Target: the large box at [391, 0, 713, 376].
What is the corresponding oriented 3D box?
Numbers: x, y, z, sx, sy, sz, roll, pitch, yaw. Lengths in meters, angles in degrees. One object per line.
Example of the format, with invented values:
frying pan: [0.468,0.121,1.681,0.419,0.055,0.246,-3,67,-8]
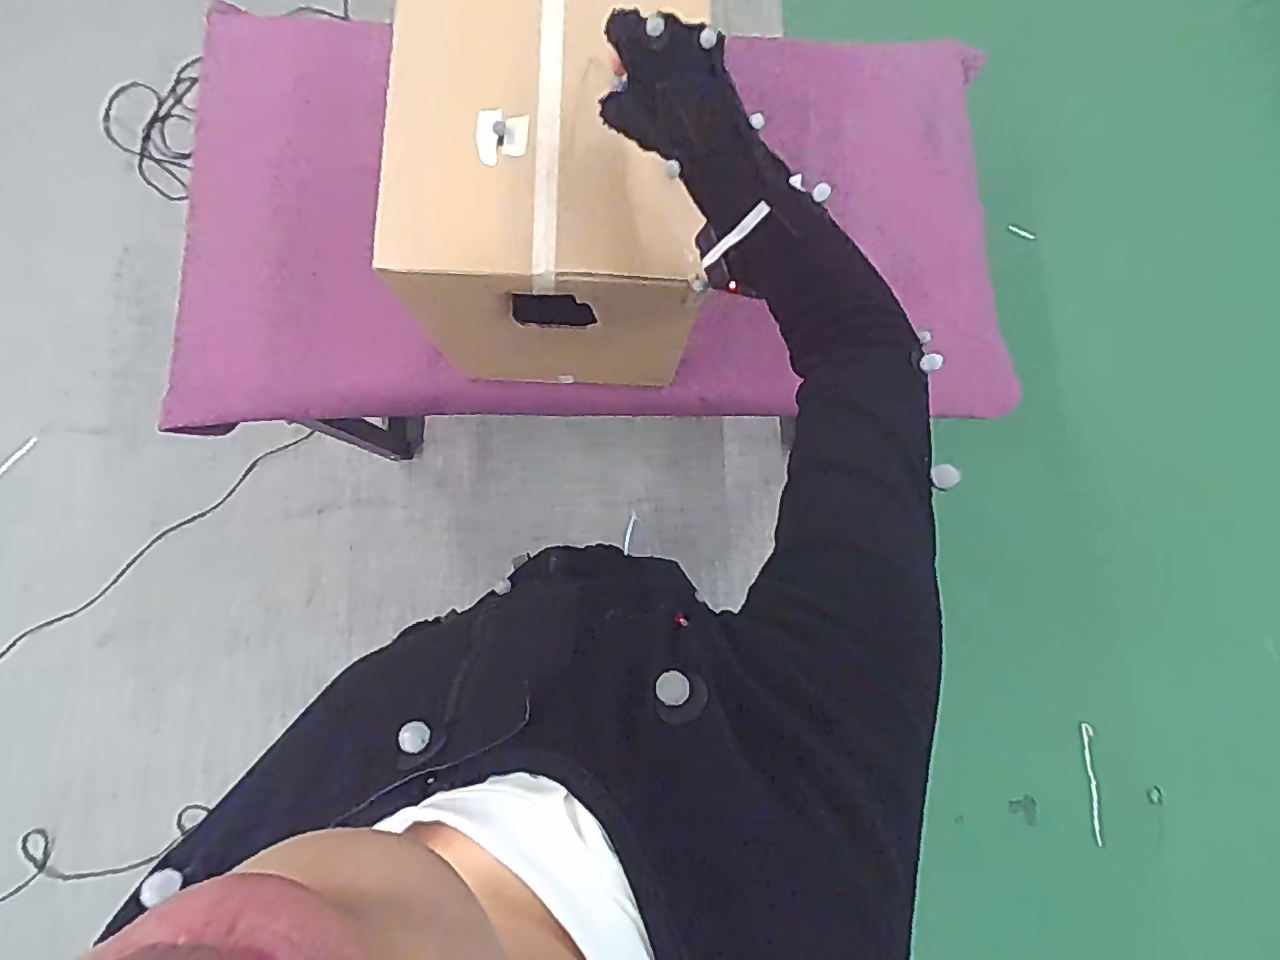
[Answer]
large box: [-0.092,-0.376,0.688,0.320,0.320,0.408,2,83,-3]
